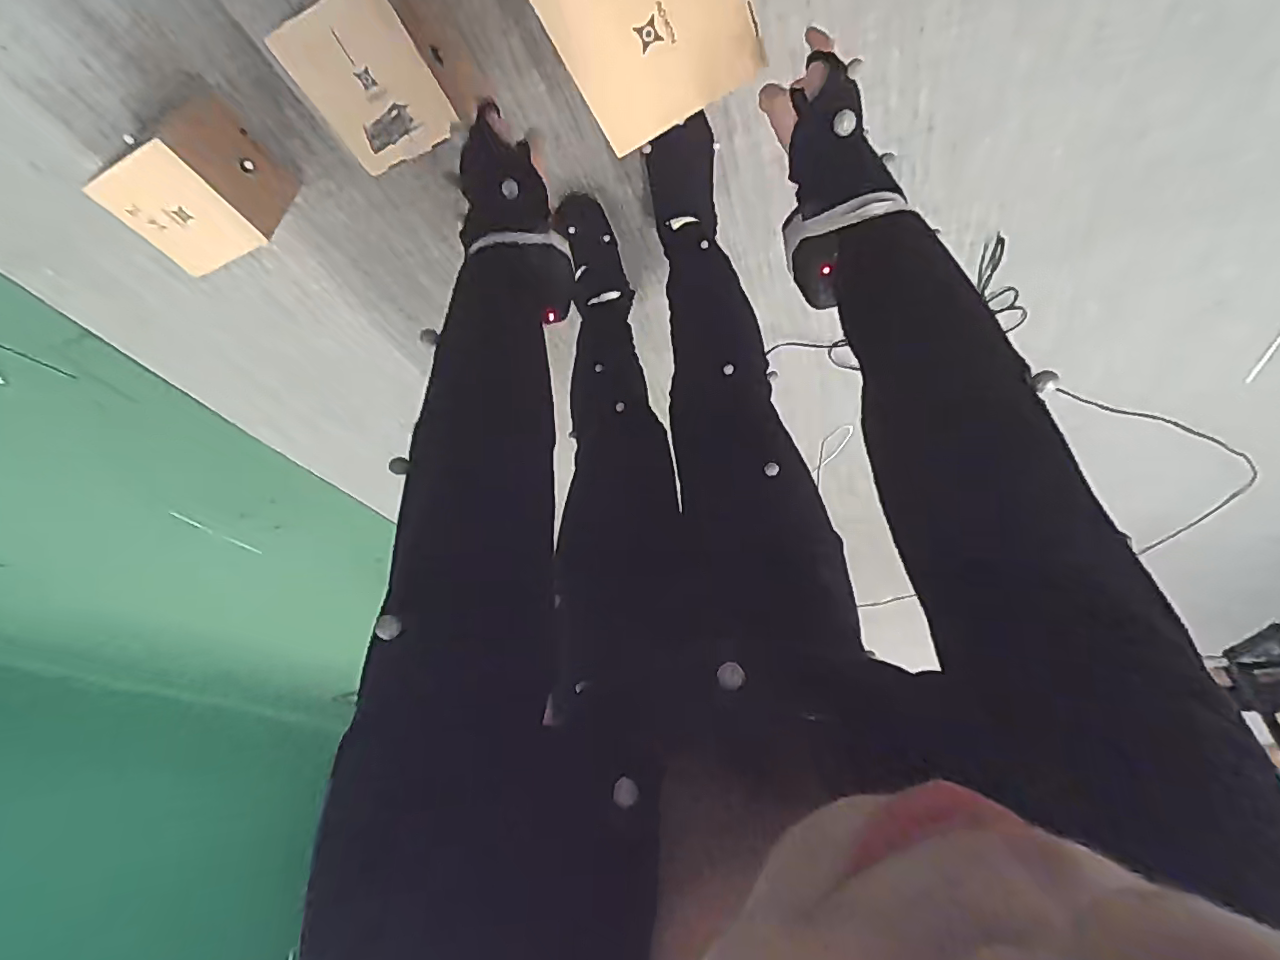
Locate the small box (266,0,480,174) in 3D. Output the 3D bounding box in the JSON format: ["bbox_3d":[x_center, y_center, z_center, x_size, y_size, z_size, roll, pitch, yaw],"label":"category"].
[{"bbox_3d":[-0.339,-0.564,0.728,0.168,0.176,0.179,-12,144,18],"label":"small box"}]

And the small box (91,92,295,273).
[{"bbox_3d":[-0.692,-0.473,0.864,0.179,0.176,0.168,-13,144,18],"label":"small box"}]

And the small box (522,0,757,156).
[{"bbox_3d":[0.005,-0.487,0.554,0.179,0.176,0.168,-18,144,24],"label":"small box"}]
